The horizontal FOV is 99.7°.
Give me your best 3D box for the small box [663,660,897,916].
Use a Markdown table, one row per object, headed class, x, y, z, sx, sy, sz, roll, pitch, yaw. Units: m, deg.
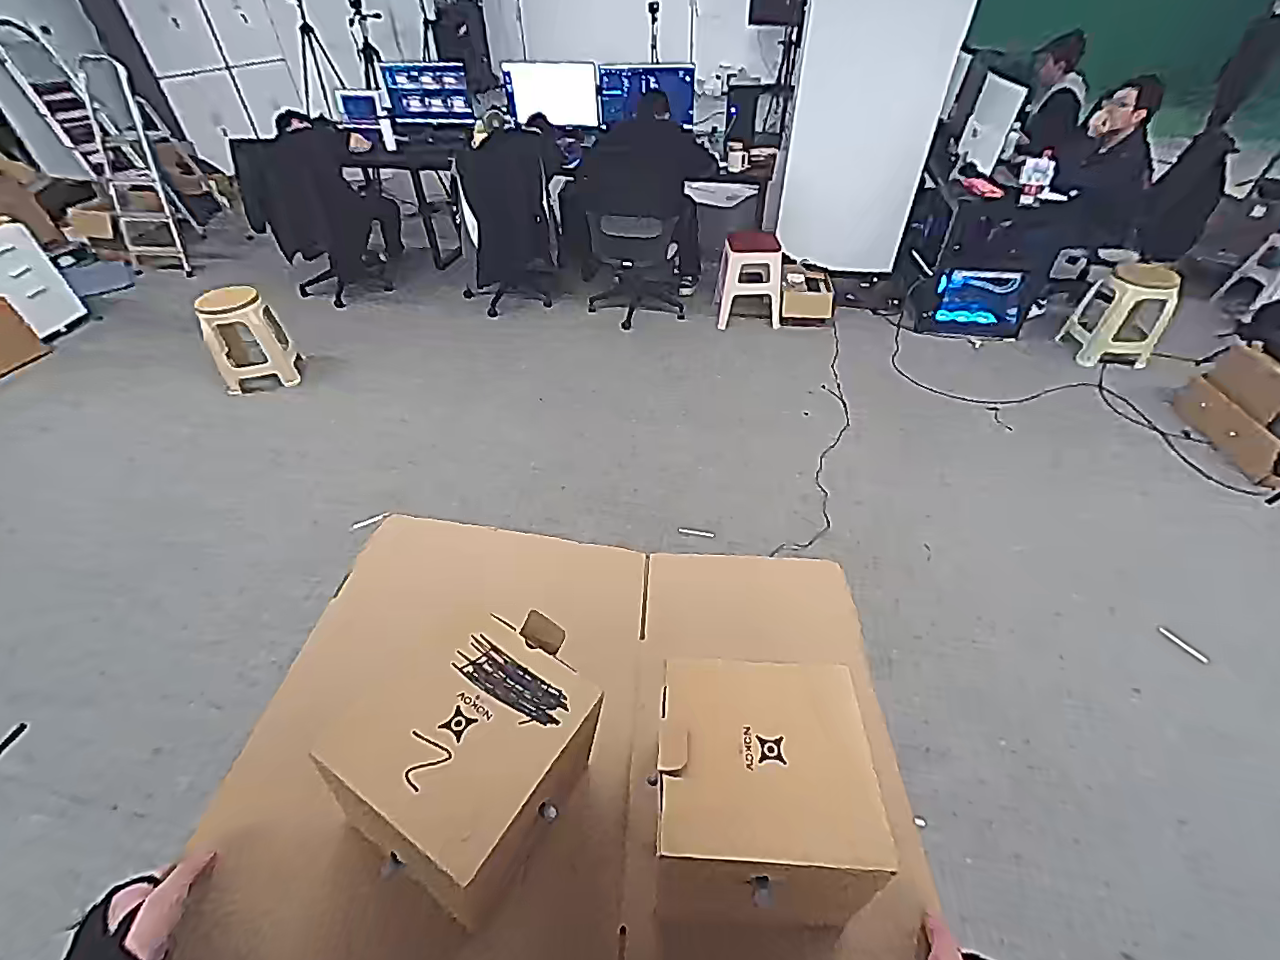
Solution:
| class | x | y | z | sx | sy | sz | roll | pitch | yaw |
| --- | --- | --- | --- | --- | --- | --- | --- | --- | --- |
| small box | 0.113 | 0.294 | 0.518 | 0.179 | 0.176 | 0.168 | 1 | 41 | 4 |
